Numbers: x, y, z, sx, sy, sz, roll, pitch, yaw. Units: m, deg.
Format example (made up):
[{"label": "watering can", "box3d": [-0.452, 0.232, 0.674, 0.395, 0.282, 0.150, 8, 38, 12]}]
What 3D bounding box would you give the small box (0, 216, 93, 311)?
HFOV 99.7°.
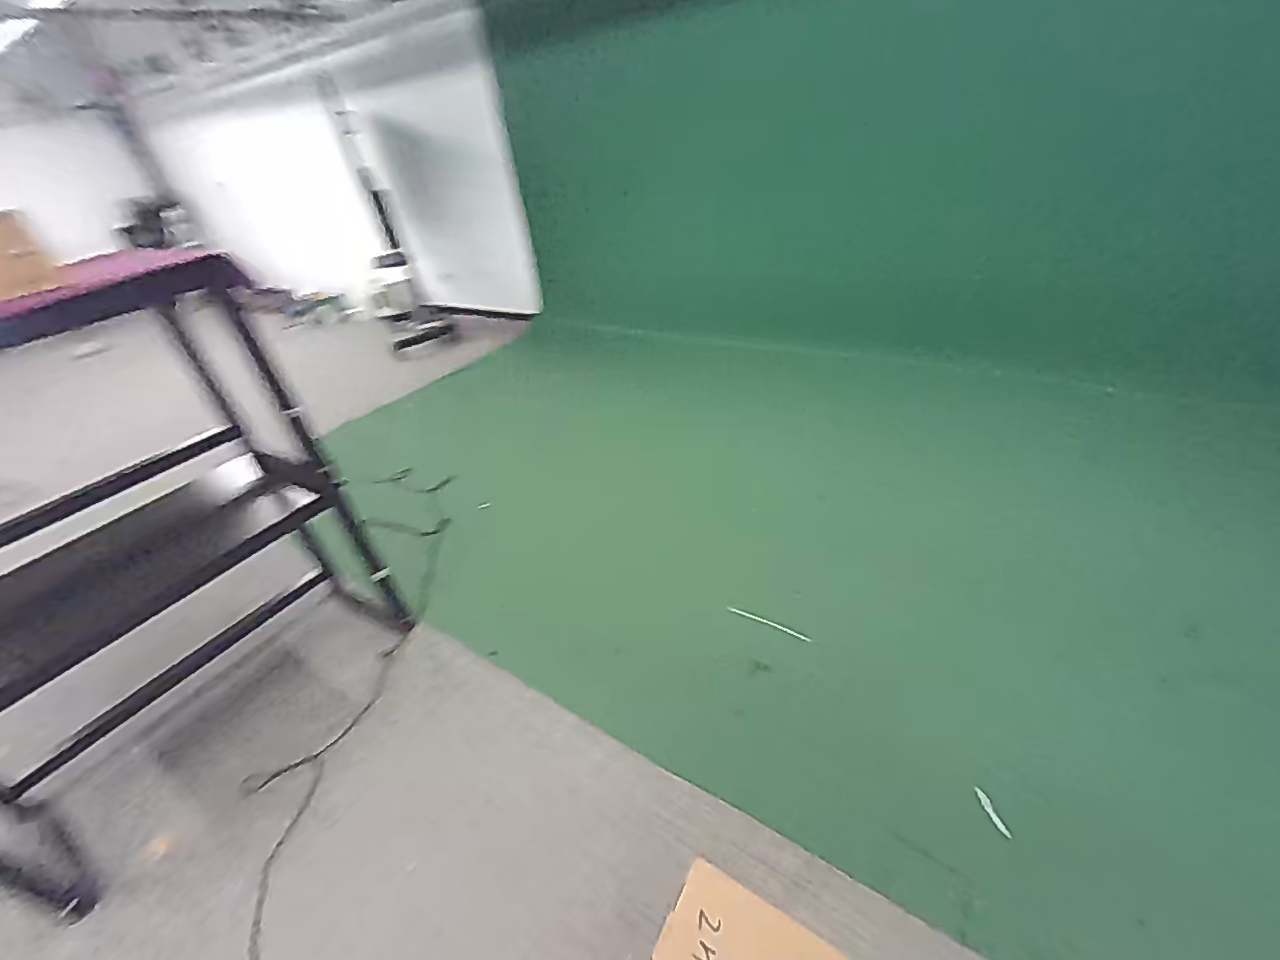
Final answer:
[{"label": "small box", "box3d": [-1.421, -0.497, 1.245, 0.179, 0.176, 0.168, 17, 41, 36]}]
